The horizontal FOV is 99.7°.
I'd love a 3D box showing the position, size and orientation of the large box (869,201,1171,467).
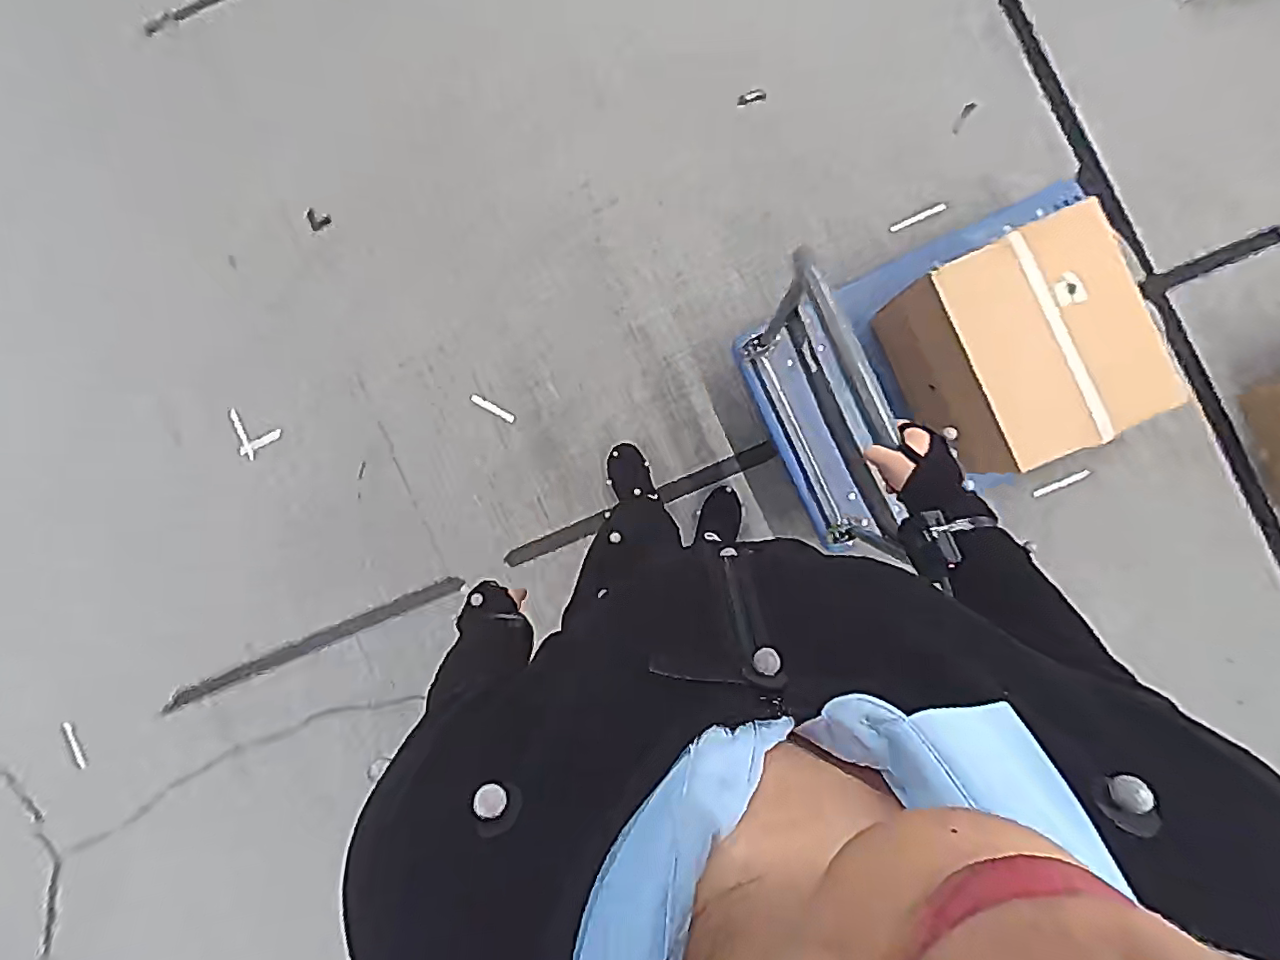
[{"bbox_3d":[0.752,-0.270,1.138,0.320,0.320,0.408,-24,88,3],"label":"large box"}]
